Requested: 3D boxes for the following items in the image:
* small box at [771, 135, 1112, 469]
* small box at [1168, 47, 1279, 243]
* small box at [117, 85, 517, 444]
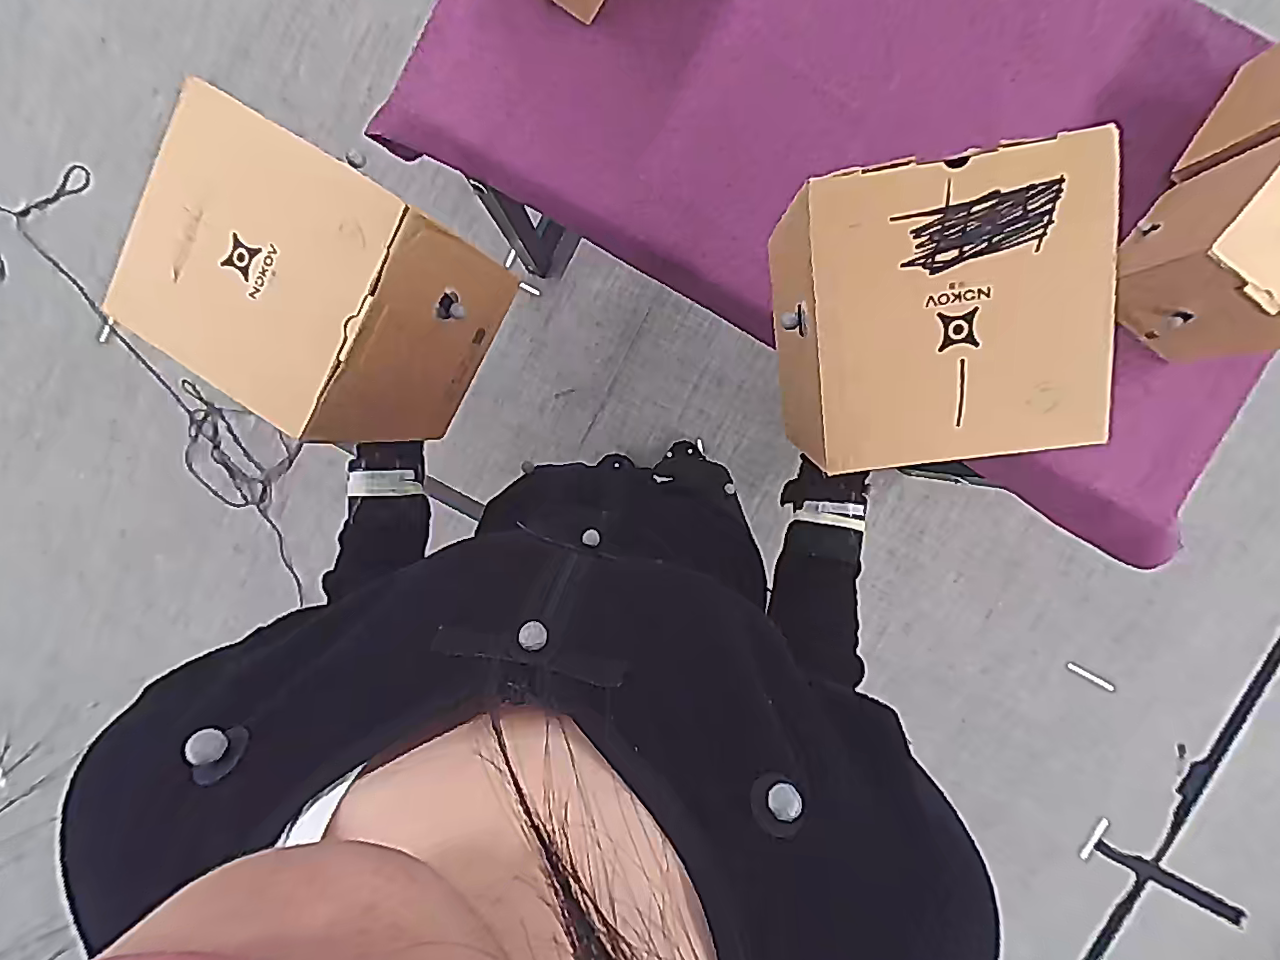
[{"bbox_3d":[0.196,-0.115,0.400,0.168,0.176,0.179,-7,102,7],"label":"small box"},{"bbox_3d":[0.820,-0.429,0.656,0.168,0.176,0.179,32,93,-4],"label":"small box"},{"bbox_3d":[-0.226,-0.143,0.420,0.179,0.176,0.168,31,99,7],"label":"small box"}]
